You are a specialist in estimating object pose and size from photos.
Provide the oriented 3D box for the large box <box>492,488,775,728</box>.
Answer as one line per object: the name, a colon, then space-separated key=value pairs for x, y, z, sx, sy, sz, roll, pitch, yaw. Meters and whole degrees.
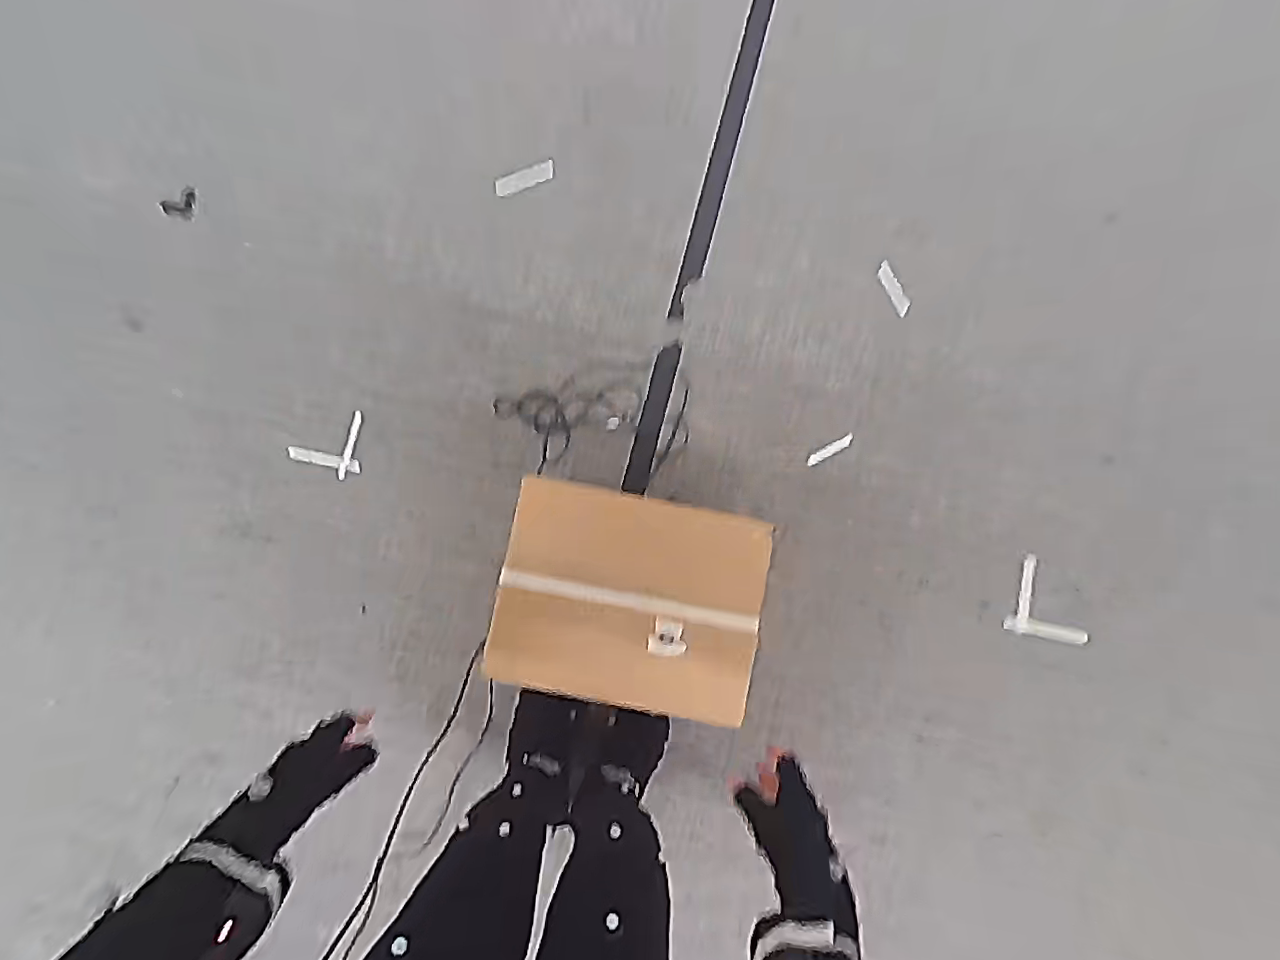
large box: x=-0.013 y=0.215 z=0.991 sx=0.408 sy=0.320 sz=0.320 roll=12 pitch=83 yaw=-1
